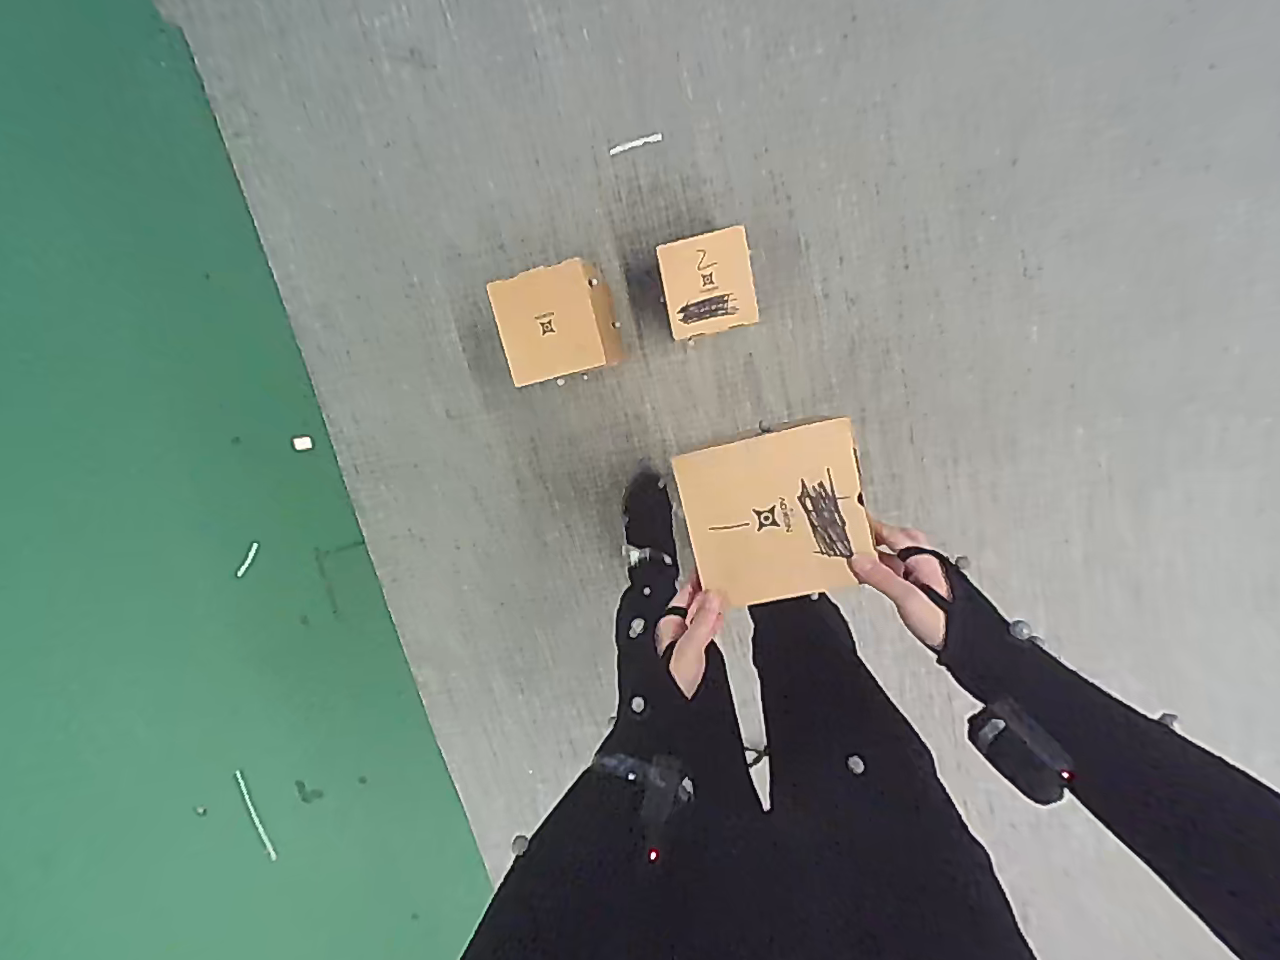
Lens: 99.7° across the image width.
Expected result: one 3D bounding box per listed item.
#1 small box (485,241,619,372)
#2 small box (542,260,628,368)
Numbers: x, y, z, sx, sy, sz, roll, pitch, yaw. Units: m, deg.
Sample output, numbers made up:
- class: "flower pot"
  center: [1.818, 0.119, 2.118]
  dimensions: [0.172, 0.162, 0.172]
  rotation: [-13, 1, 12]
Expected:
- class: "small box"
  center: [-0.141, -0.294, 0.943]
  dimensions: [0.168, 0.176, 0.179]
  rotation: [-11, 102, 9]
- class: "small box"
  center: [-0.125, -0.332, 1.100]
  dimensions: [0.168, 0.176, 0.179]
  rotation: [-9, 102, 8]
